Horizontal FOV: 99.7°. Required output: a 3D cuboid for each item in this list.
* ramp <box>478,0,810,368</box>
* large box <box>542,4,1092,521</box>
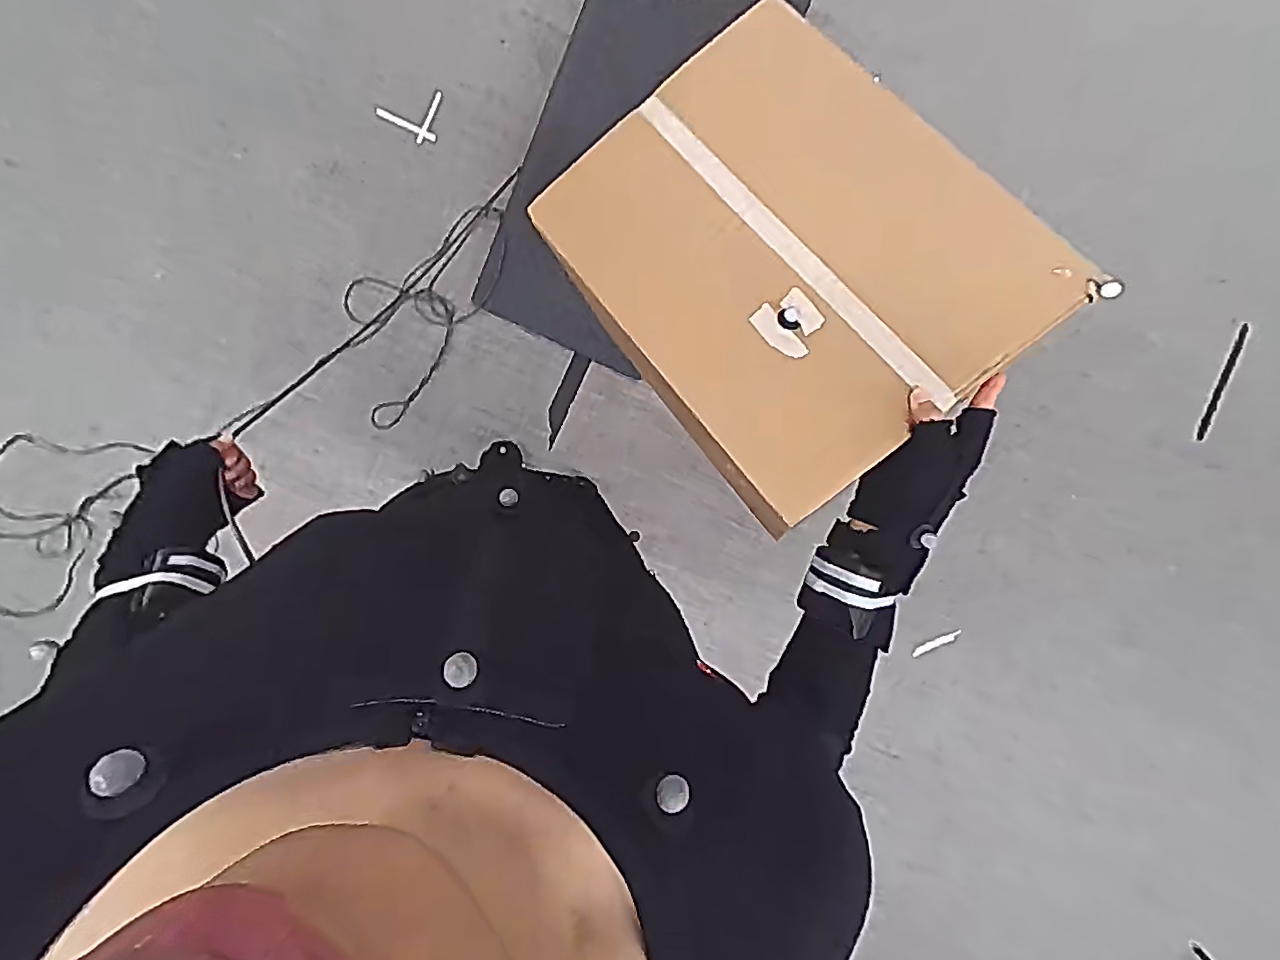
[{"bbox_3d":[-0.001,-0.836,1.356,0.509,0.206,0.991,22,91,-9],"label":"ramp"},{"bbox_3d":[0.161,-0.204,0.638,0.320,0.320,0.408,-39,77,5],"label":"large box"}]
